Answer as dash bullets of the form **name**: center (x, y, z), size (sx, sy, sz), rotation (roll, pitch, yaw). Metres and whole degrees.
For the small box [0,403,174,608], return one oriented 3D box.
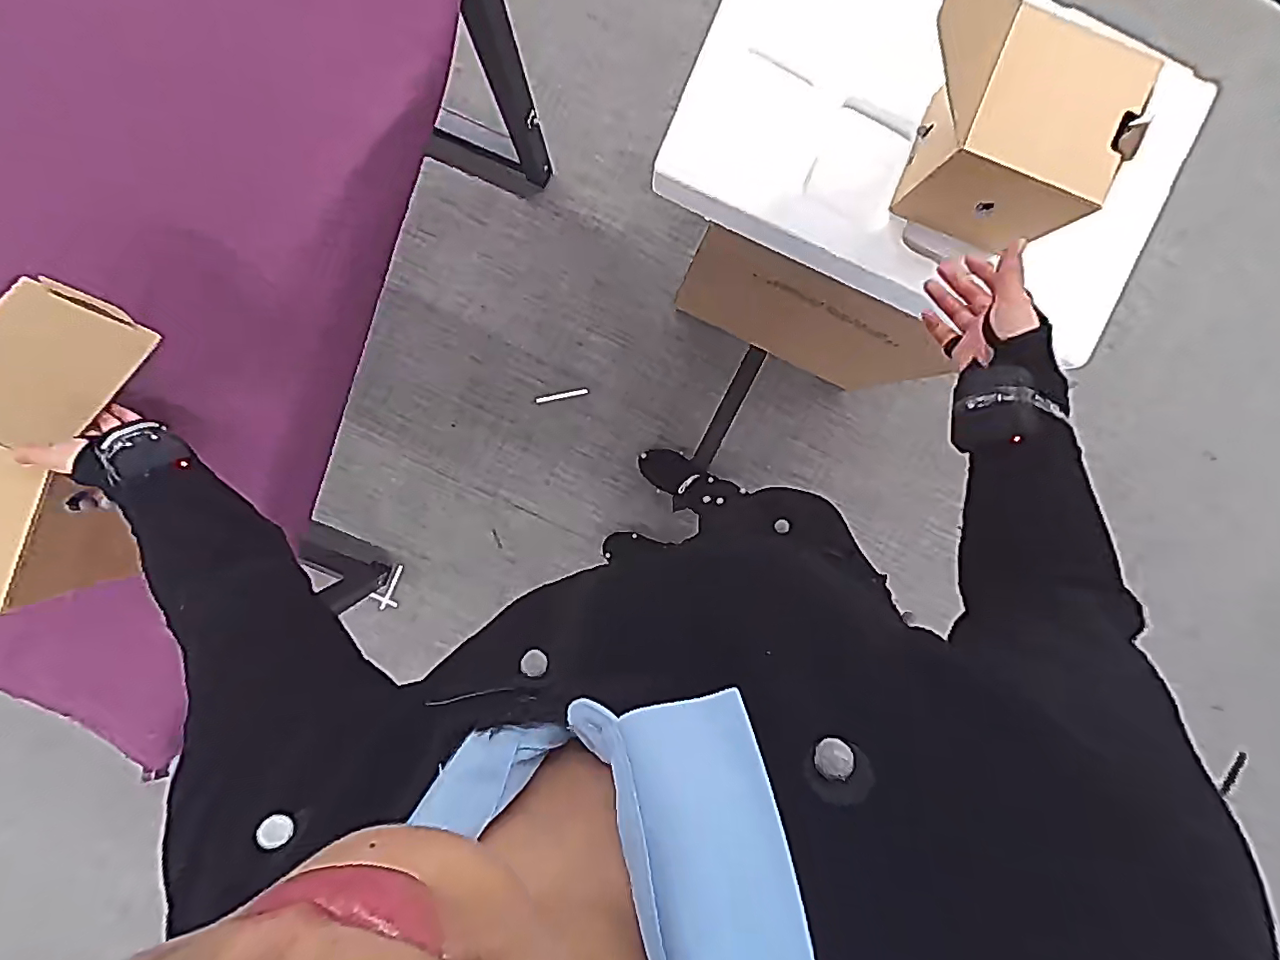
- **small box**: center (-0.708, 0.017, 0.634), size (0.168, 0.176, 0.179), rotation (24, 95, -3)
